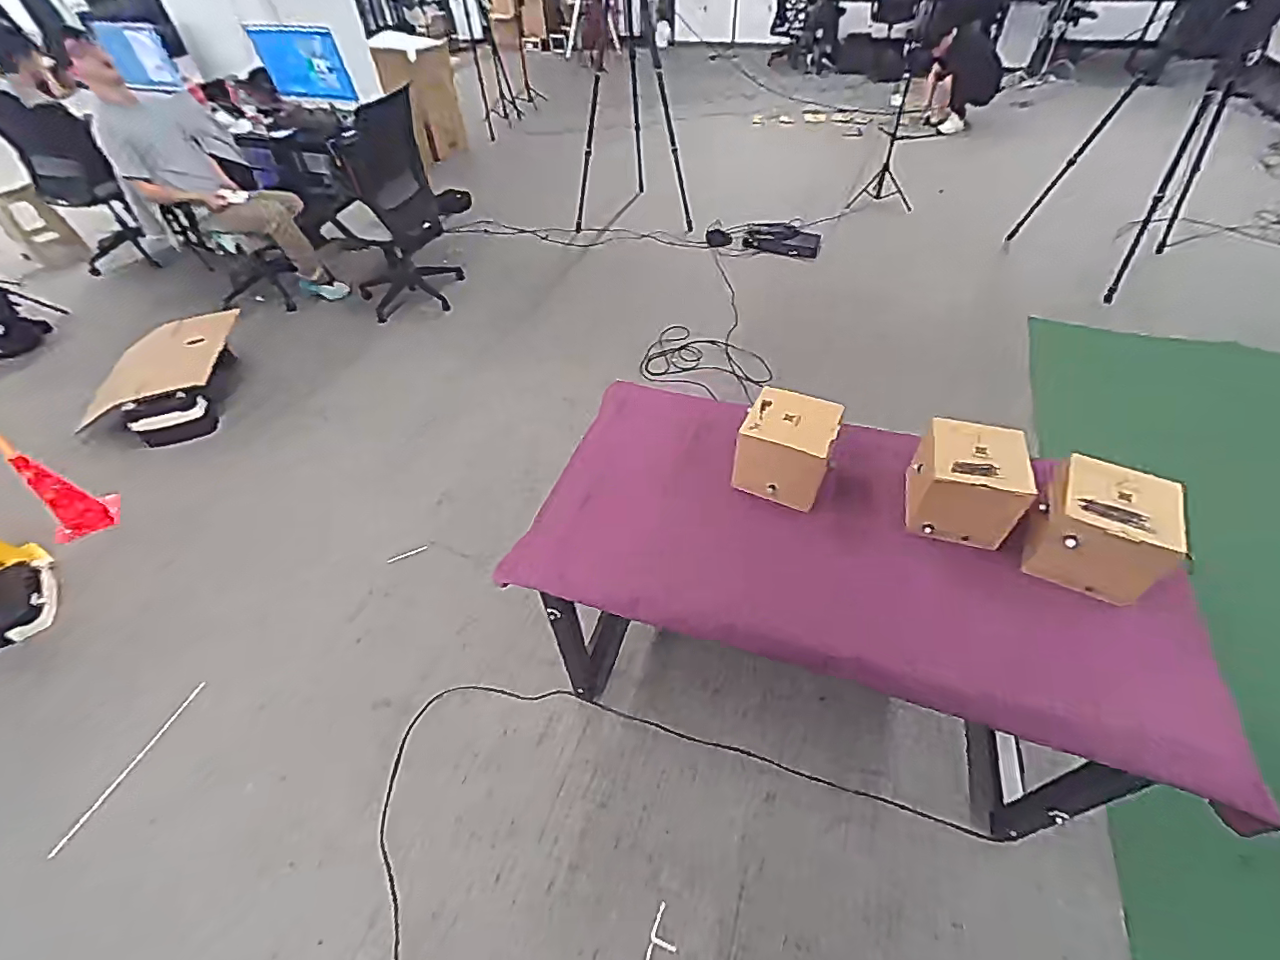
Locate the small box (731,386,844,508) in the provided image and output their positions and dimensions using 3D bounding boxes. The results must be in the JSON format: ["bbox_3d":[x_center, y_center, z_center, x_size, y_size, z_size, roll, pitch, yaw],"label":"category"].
[{"bbox_3d":[0.308,-0.066,1.149,0.179,0.176,0.168,20,52,20],"label":"small box"}]
